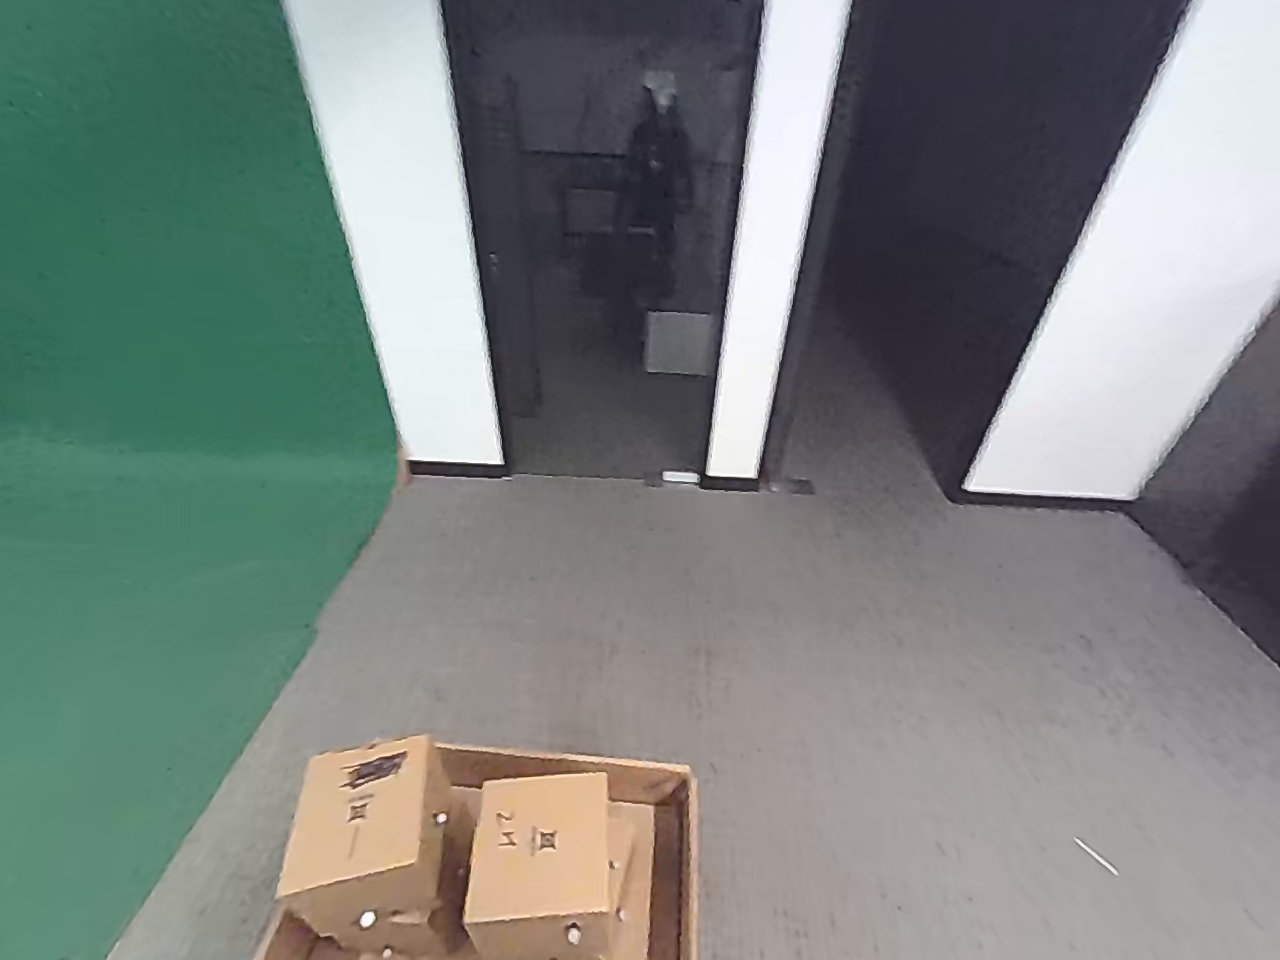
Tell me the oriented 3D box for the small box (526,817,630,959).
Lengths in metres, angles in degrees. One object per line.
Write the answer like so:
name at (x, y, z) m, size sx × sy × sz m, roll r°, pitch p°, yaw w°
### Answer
small box at (-0.116, 0.649, 0.859) m, size 0.168 × 0.176 × 0.179 m, roll 10°, pitch 37°, yaw 11°

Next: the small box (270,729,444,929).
small box at (-0.384, 0.495, 0.773) m, size 0.168 × 0.176 × 0.179 m, roll -6°, pitch 37°, yaw -10°

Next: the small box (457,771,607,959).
small box at (-0.133, 0.526, 0.744) m, size 0.179 × 0.176 × 0.168 m, roll -1°, pitch 35°, yaw -3°
